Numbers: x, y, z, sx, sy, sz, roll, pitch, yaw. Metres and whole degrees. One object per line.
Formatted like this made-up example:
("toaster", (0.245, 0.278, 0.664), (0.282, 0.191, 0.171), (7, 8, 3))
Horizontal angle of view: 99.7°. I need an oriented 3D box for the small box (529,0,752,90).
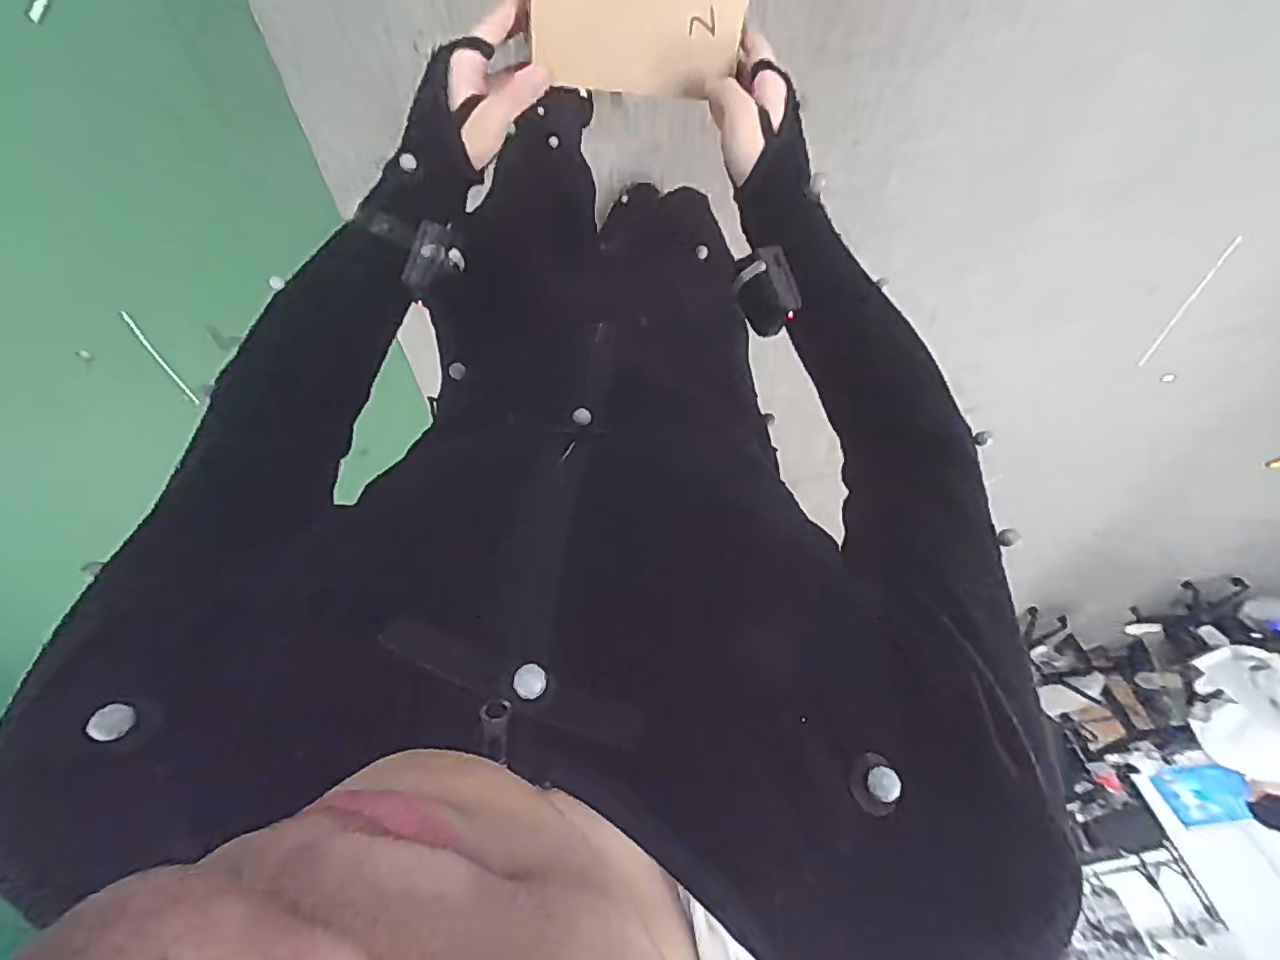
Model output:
("small box", (-0.006, -0.450, 0.458), (0.179, 0.176, 0.168), (-3, 134, -11))
